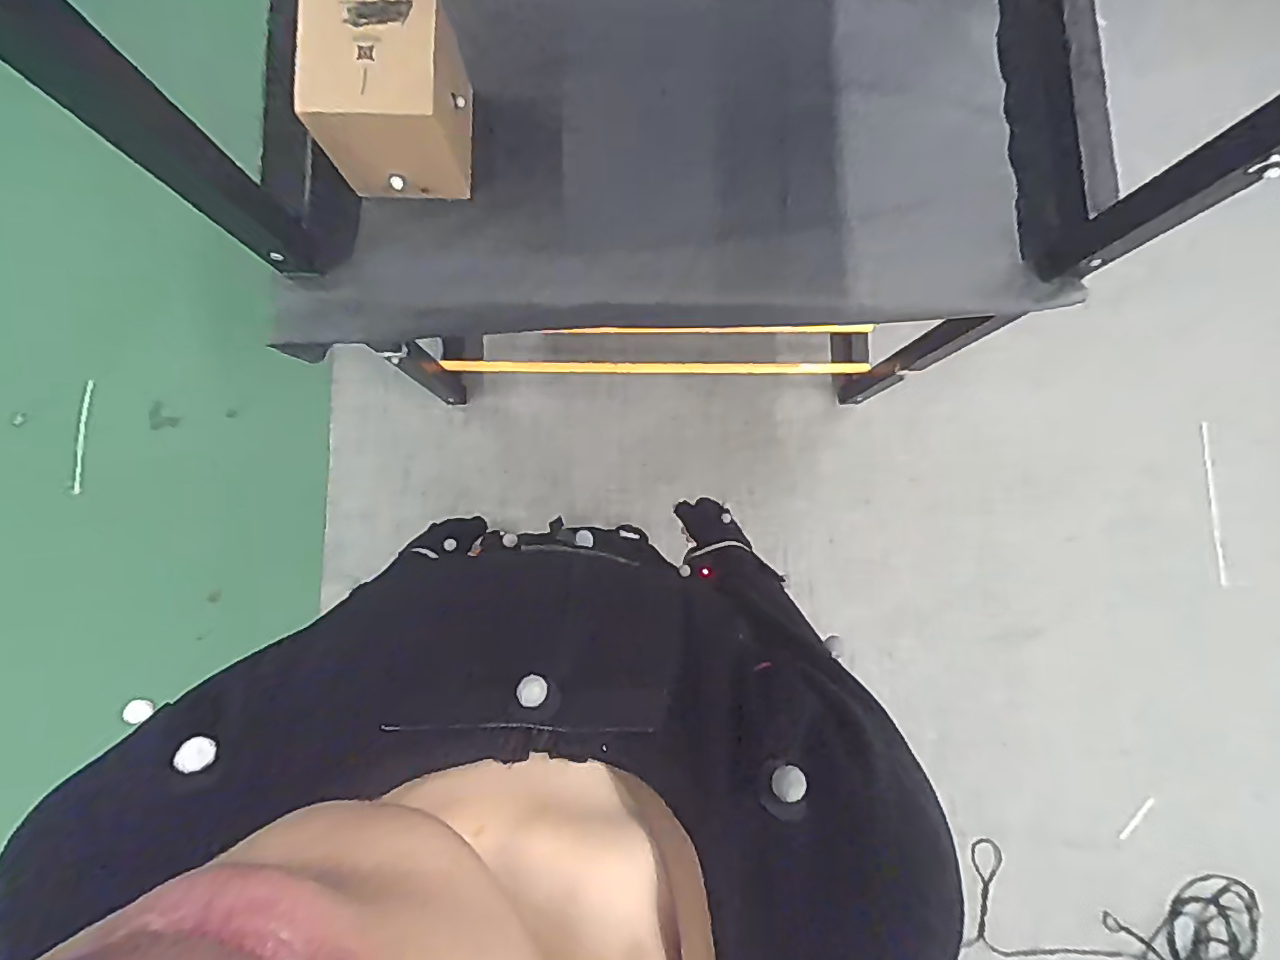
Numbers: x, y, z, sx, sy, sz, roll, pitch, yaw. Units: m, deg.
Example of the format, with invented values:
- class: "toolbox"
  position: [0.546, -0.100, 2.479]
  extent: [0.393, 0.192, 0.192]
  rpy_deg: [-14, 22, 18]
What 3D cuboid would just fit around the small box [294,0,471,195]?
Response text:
- class: "small box"
  position: [-0.333, -0.522, 0.733]
  extent: [0.168, 0.176, 0.179]
  rpy_deg: [0, 85, -3]
